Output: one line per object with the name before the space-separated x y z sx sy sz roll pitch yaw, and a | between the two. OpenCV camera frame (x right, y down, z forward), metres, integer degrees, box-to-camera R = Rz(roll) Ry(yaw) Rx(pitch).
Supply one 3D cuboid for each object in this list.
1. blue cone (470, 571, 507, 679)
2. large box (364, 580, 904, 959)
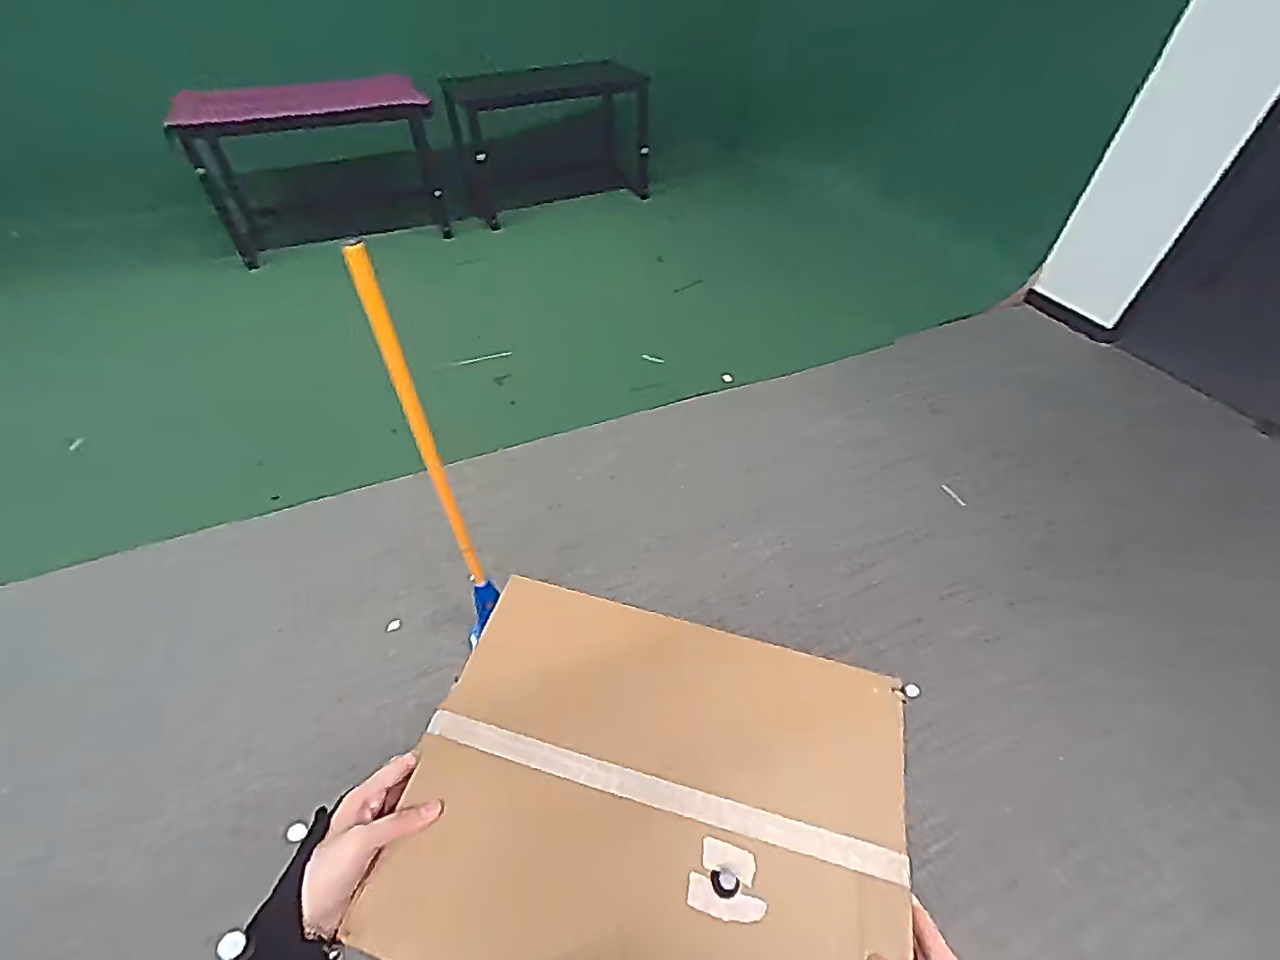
blue cone | -0.401 0.378 1.472 0.193 0.380 0.192 -10 47 -10
large box | 0.015 0.357 0.580 0.408 0.320 0.320 14 52 8
